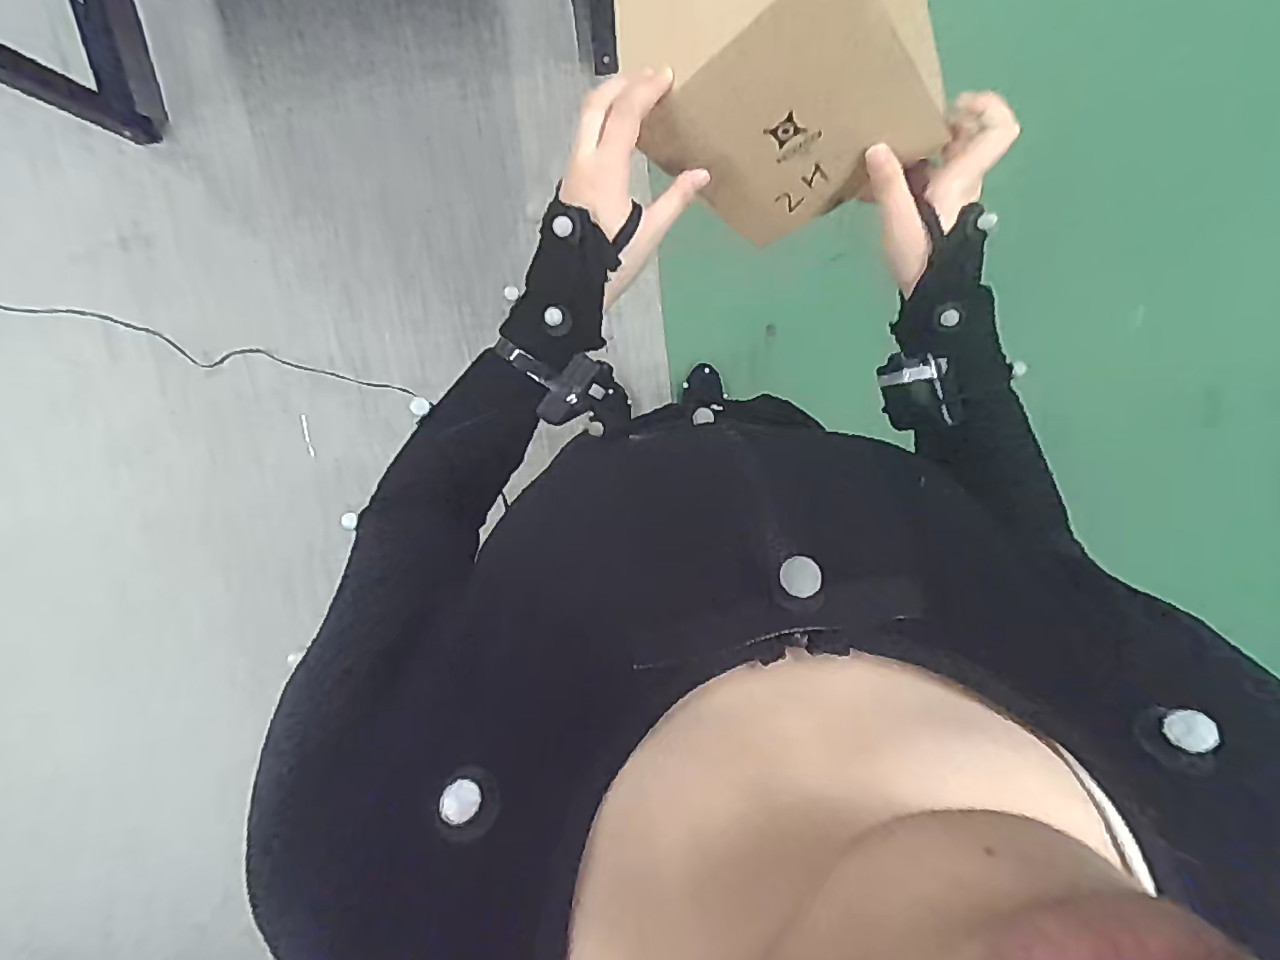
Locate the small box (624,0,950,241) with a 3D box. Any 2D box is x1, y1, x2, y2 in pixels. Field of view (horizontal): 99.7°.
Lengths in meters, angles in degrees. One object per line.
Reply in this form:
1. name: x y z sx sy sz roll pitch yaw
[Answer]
1. small box: 0.101 -0.322 0.397 0.179 0.168 0.176 9 74 -44
